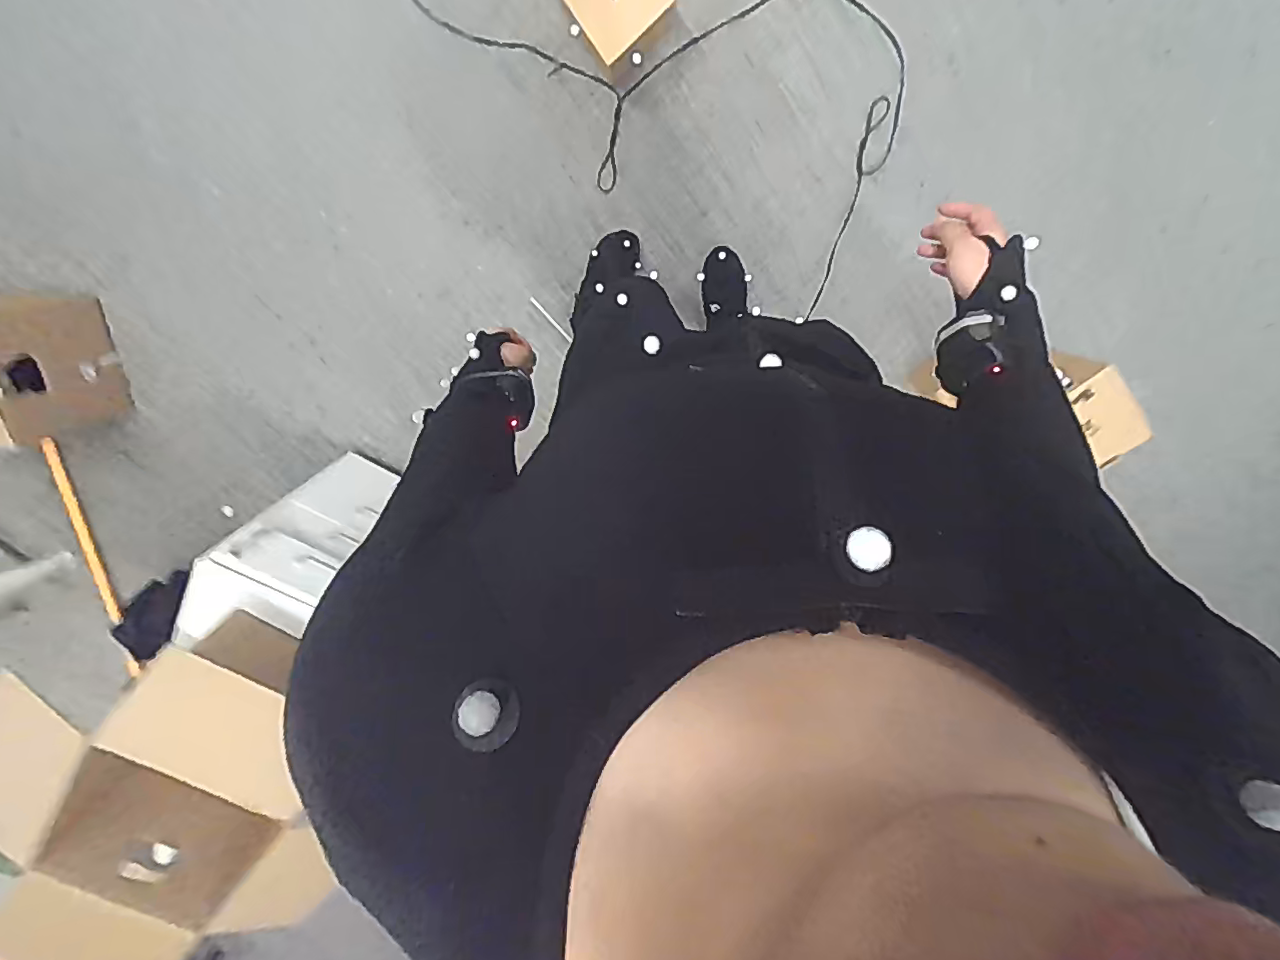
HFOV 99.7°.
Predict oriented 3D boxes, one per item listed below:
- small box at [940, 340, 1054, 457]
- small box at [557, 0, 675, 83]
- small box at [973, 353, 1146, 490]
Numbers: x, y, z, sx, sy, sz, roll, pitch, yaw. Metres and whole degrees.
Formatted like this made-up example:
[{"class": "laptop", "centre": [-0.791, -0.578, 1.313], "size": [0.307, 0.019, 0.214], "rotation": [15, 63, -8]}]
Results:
[{"class": "small box", "centre": [0.808, -0.186, 1.190], "size": [0.168, 0.176, 0.179], "rotation": [-39, 106, 16]}, {"class": "small box", "centre": [-0.047, -0.920, 1.055], "size": [0.168, 0.176, 0.179], "rotation": [-36, 108, 16]}, {"class": "small box", "centre": [0.795, -0.119, 1.041], "size": [0.168, 0.176, 0.179], "rotation": [-39, 108, 16]}]
